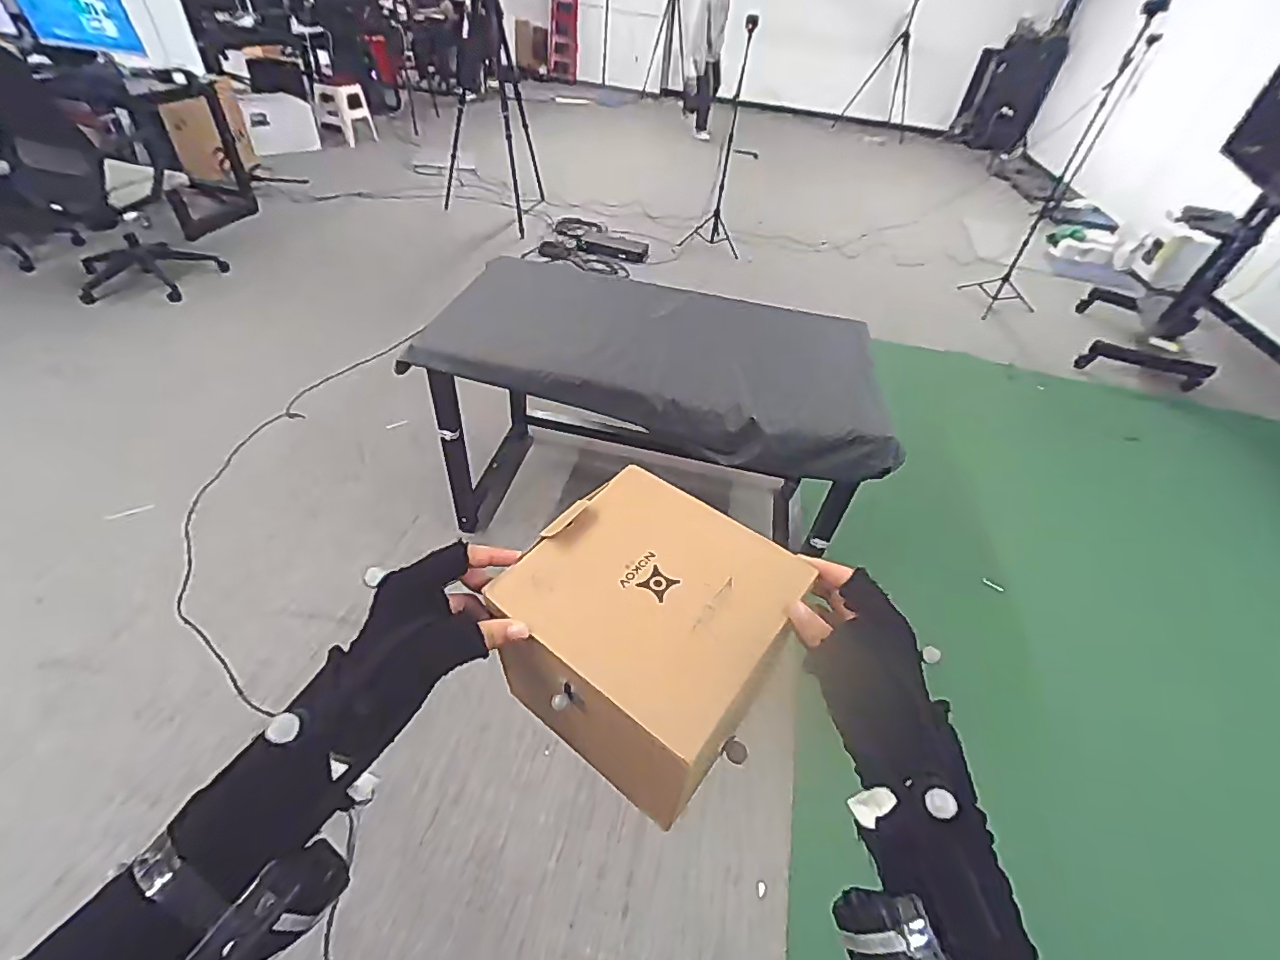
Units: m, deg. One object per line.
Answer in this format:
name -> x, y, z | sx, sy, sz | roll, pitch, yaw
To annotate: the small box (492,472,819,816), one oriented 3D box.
small box -> 0.010, 0.131, 0.436 | 0.179, 0.176, 0.168 | 30, 52, 23
